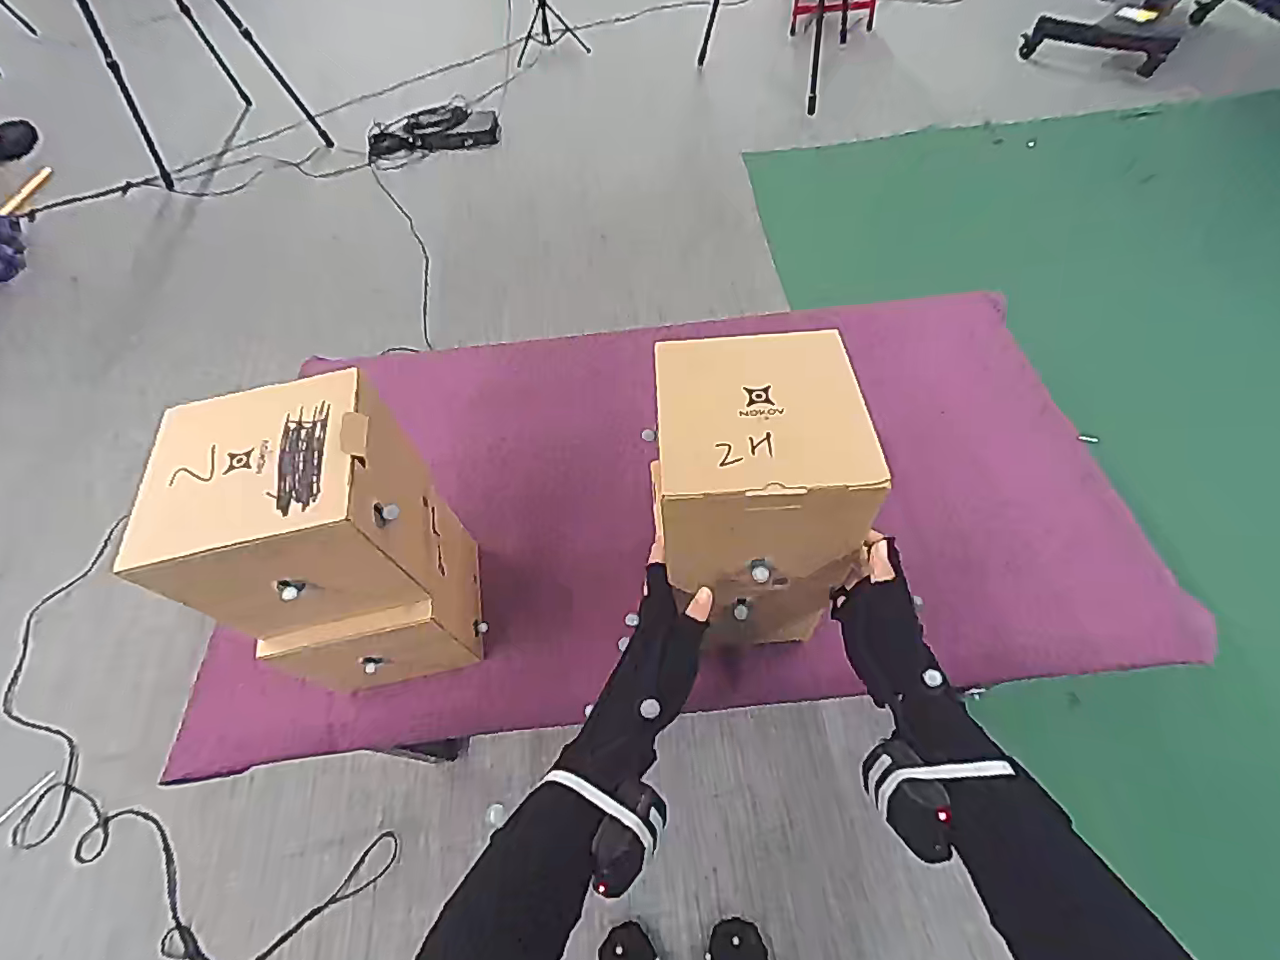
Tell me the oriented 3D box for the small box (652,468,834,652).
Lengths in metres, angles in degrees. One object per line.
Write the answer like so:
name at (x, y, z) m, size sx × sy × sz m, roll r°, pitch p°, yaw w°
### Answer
small box at (0.106, 0.094, 0.641) m, size 0.179 × 0.176 × 0.168 m, roll -5°, pitch 54°, yaw 1°

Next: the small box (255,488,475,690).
small box at (-0.303, 0.134, 0.641) m, size 0.179 × 0.176 × 0.168 m, roll -11°, pitch 57°, yaw -3°

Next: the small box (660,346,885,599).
small box at (0.102, -0.003, 0.509) m, size 0.168 × 0.176 × 0.179 m, roll -2°, pitch 54°, yaw 3°
